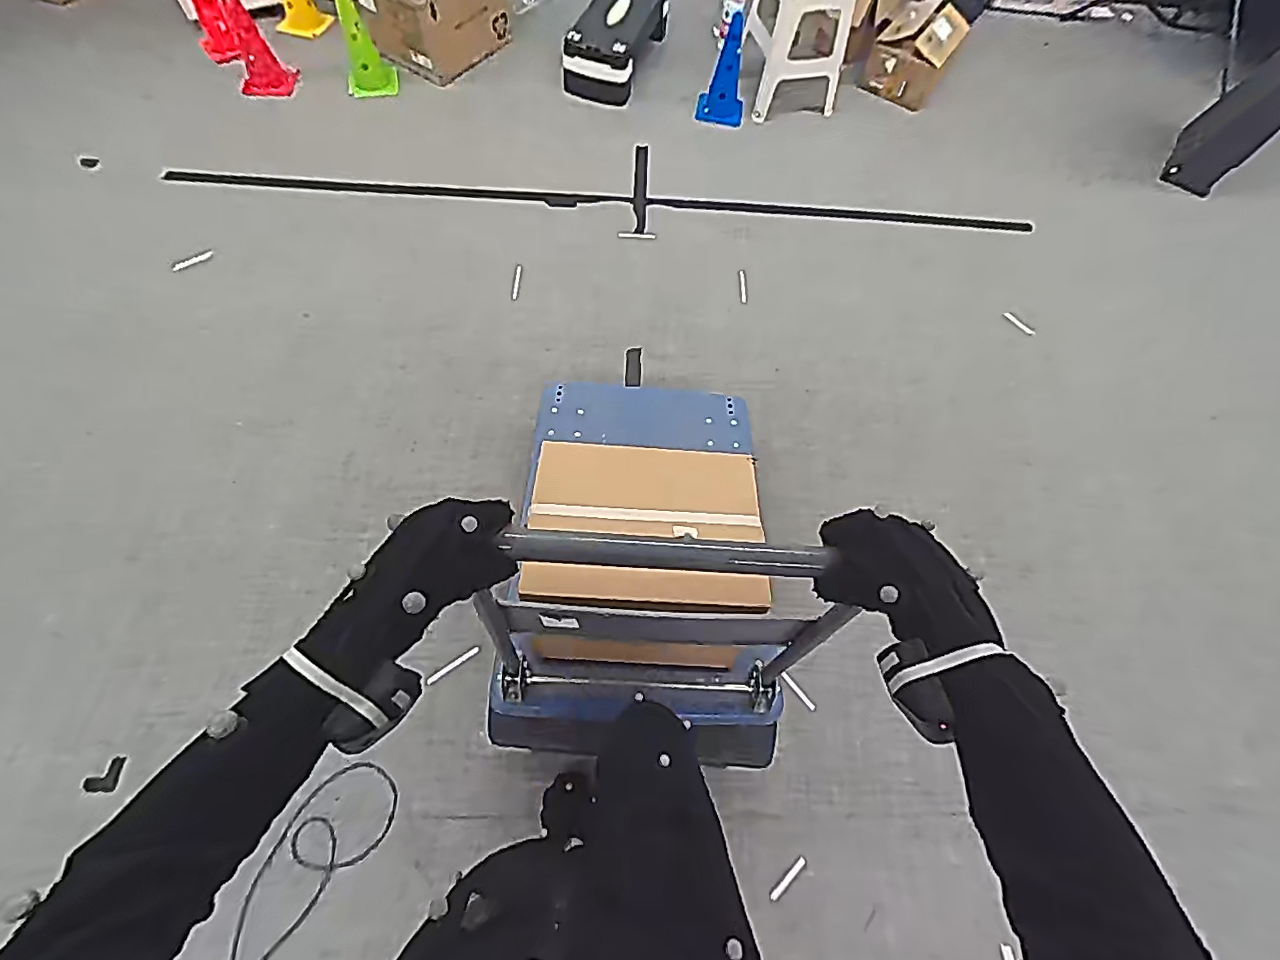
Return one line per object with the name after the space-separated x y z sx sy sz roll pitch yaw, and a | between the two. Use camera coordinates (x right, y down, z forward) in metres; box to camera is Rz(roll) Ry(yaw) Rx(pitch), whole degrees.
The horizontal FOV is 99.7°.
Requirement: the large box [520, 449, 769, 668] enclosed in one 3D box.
-0.004 0.162 1.054 0.408 0.320 0.320 4 54 -4 | large box
